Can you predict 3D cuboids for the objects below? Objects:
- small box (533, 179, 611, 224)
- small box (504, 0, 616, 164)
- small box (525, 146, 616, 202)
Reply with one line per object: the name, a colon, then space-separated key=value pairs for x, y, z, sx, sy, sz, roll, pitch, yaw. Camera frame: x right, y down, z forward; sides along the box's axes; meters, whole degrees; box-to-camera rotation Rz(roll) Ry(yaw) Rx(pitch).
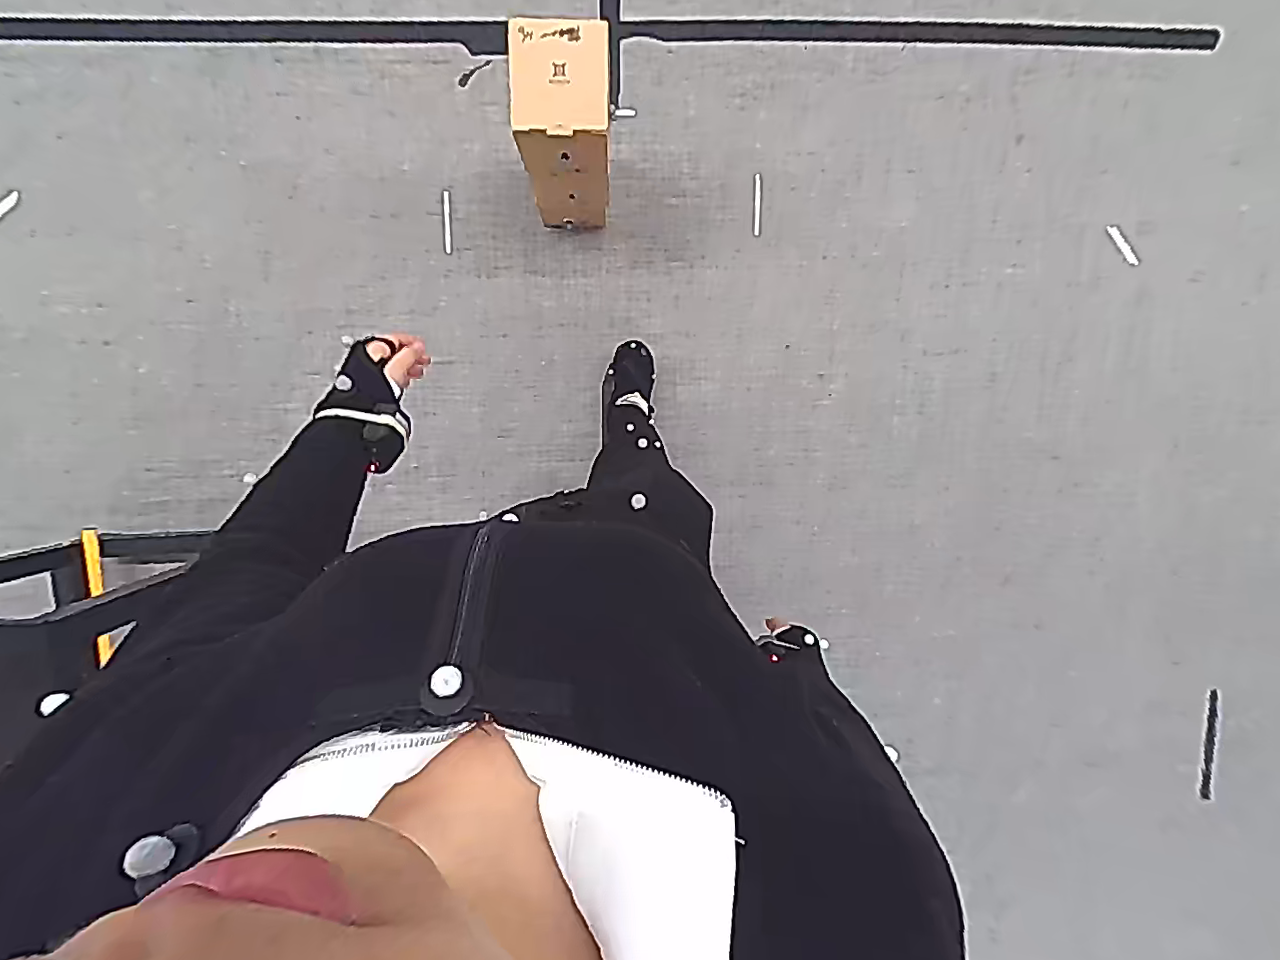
small box: x=-0.149 y=-0.700 z=1.220 sx=0.168 sy=0.176 sz=0.179 roll=-1 pitch=98 yaw=-2
small box: x=-0.124 y=-0.649 z=0.895 sx=0.168 sy=0.176 sz=0.179 roll=0 pitch=97 yaw=-3
small box: x=-0.132 y=-0.671 z=1.058 sx=0.168 sy=0.176 sz=0.179 roll=-1 pitch=97 yaw=-2
